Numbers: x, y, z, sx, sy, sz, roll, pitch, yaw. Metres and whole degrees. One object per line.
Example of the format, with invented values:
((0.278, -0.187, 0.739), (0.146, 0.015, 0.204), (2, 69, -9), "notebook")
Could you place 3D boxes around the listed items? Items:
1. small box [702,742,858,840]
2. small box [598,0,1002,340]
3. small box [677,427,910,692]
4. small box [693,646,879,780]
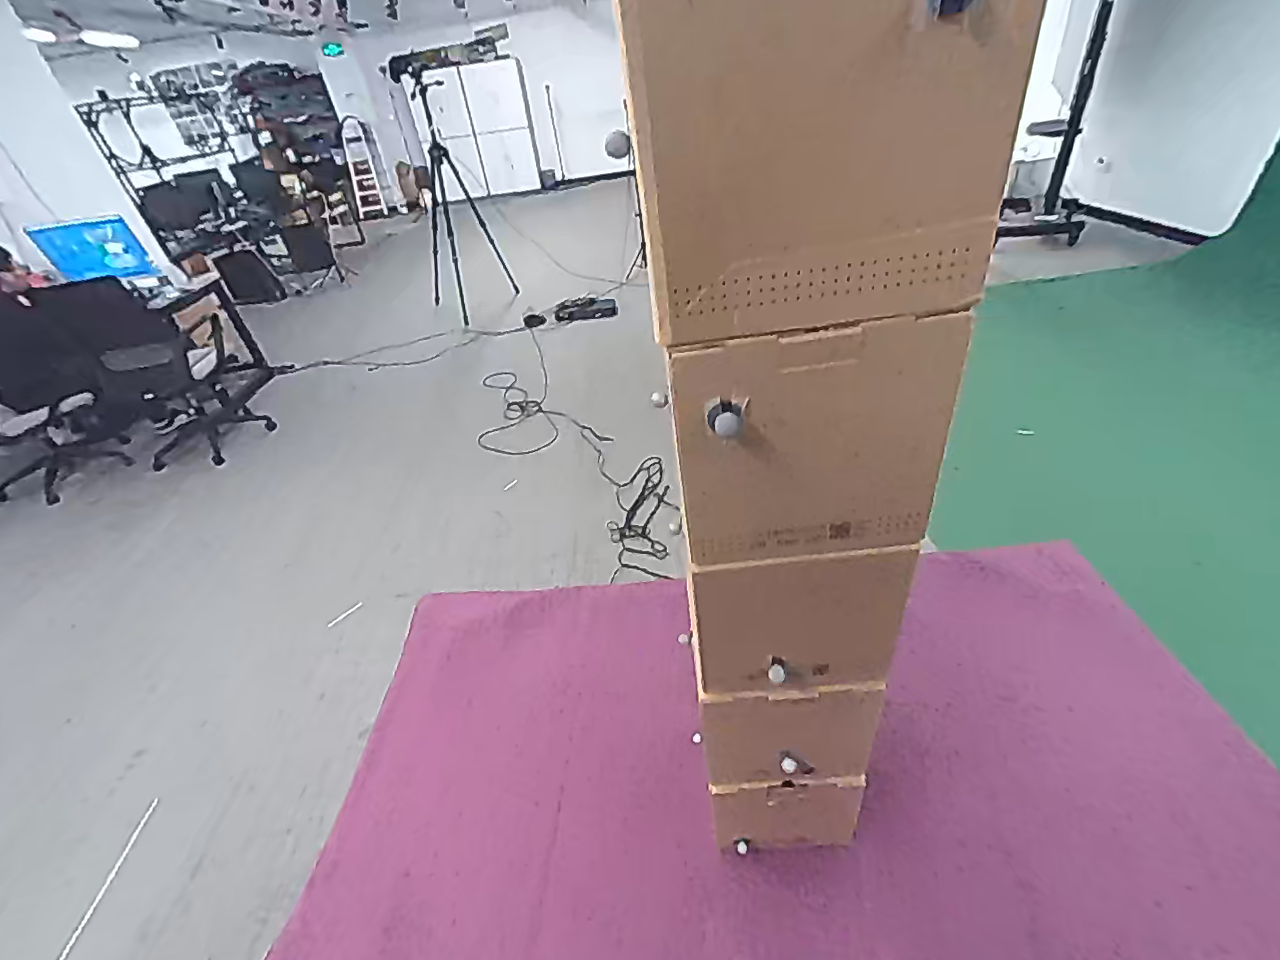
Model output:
((0.165, 0.338, 0.692), (0.168, 0.176, 0.179), (-5, 36, 4), "small box")
((0.079, -0.193, 0.321), (0.179, 0.176, 0.168), (-6, 35, 4), "small box")
((0.124, 0.071, 0.508), (0.168, 0.176, 0.179), (-6, 37, 4), "small box")
((0.143, 0.203, 0.601), (0.168, 0.176, 0.179), (-6, 37, 5), "small box")
